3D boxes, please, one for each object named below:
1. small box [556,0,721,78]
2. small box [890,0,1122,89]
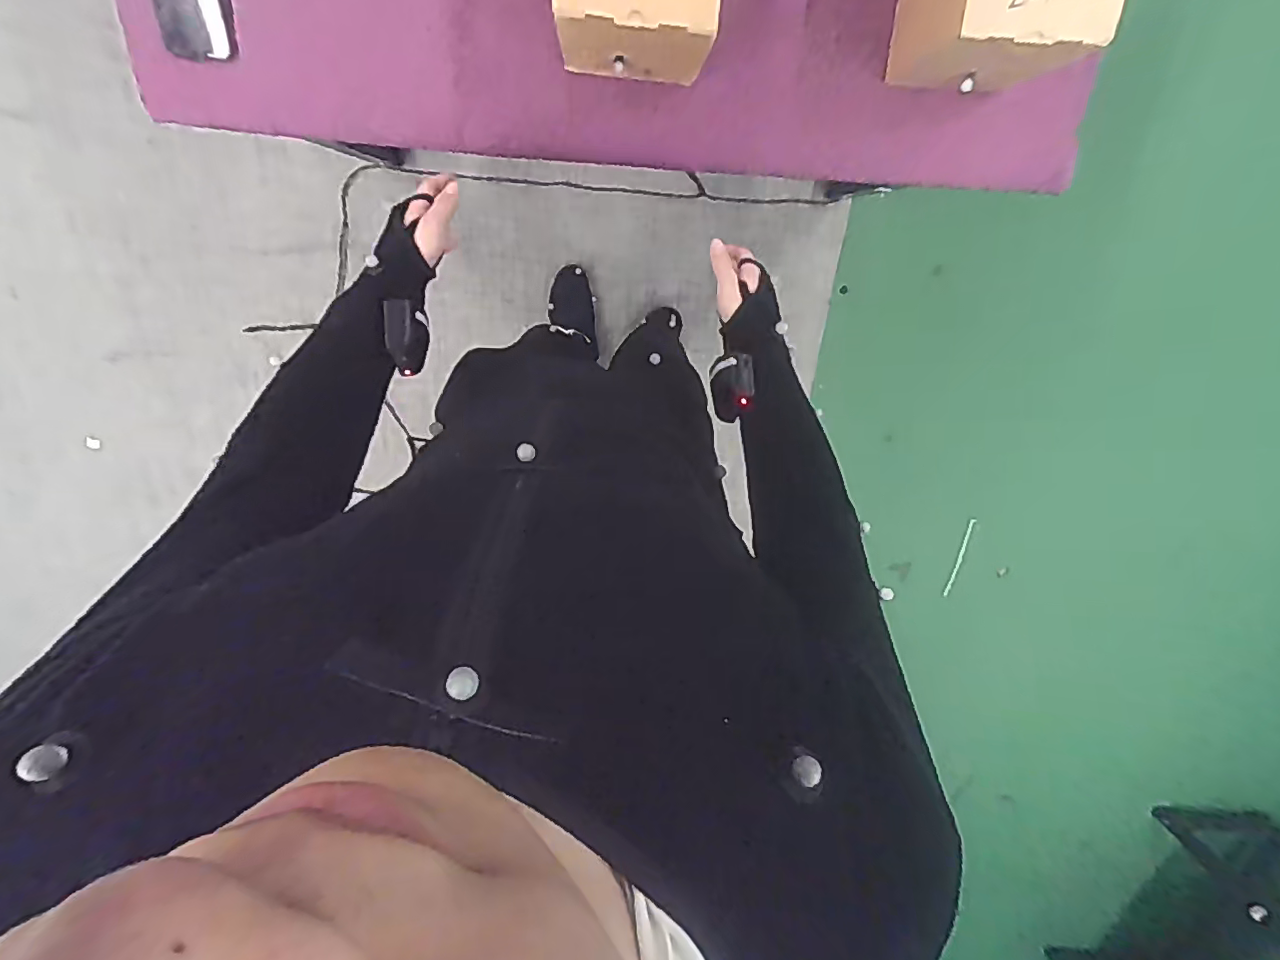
[{"bbox_3d":[-0.002,-0.563,0.572,0.168,0.176,0.179,3,113,-6],"label":"small box"},{"bbox_3d":[0.403,-0.564,0.595,0.168,0.176,0.179,1,112,-3],"label":"small box"}]
